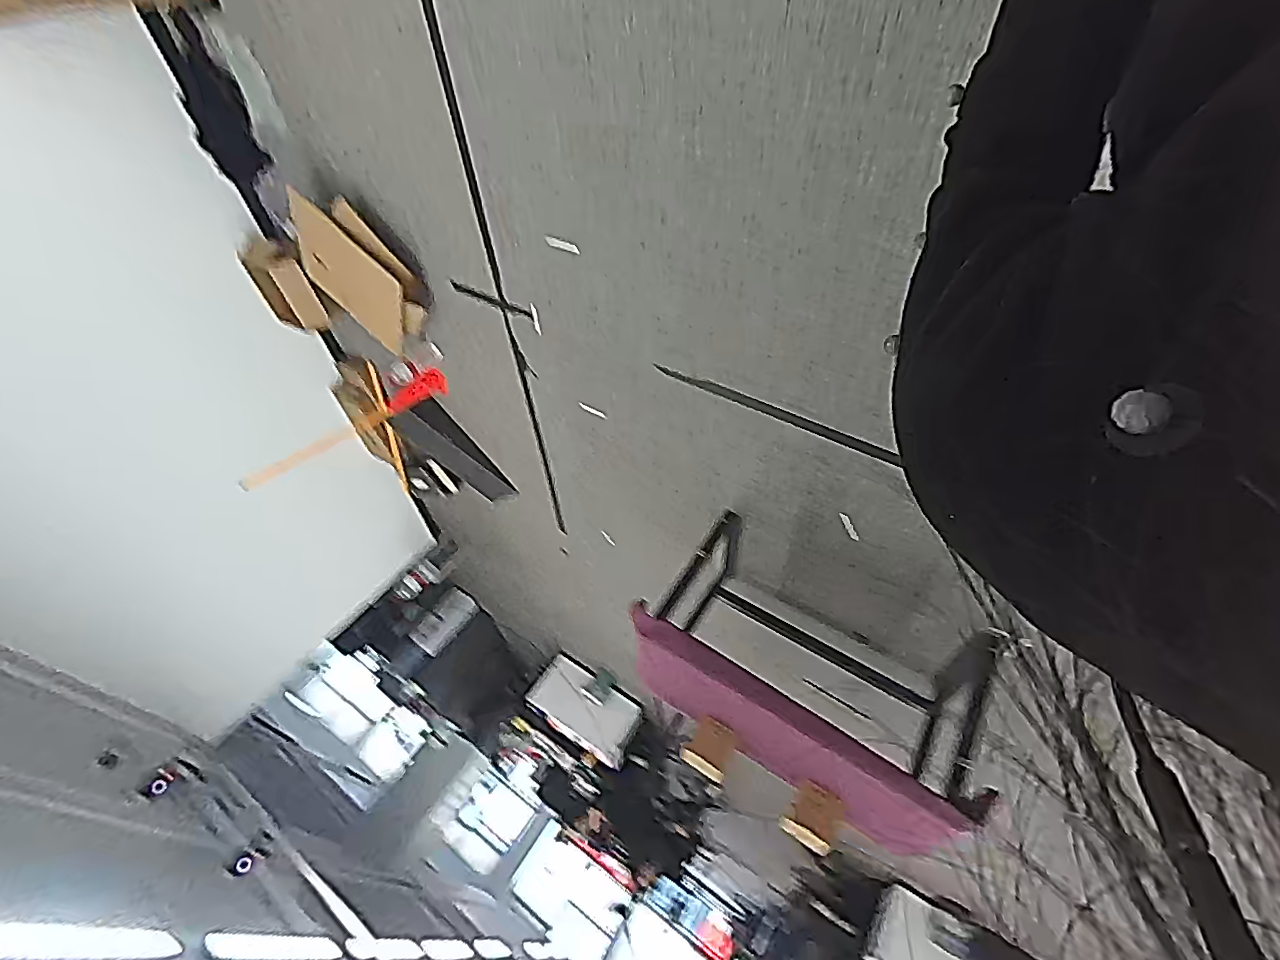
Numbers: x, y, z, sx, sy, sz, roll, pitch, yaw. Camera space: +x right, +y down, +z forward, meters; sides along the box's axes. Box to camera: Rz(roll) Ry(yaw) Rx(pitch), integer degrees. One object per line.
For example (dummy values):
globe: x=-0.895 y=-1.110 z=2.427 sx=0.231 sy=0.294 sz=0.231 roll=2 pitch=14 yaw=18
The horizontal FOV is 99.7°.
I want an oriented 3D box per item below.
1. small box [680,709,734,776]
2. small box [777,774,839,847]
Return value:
small box: x=0.285 y=1.107 z=2.287 sx=0.168 sy=0.176 sz=0.179 roll=26 pitch=144 yaw=22
small box: x=0.655 y=1.281 z=2.104 sx=0.168 sy=0.176 sz=0.179 roll=26 pitch=143 yaw=23
